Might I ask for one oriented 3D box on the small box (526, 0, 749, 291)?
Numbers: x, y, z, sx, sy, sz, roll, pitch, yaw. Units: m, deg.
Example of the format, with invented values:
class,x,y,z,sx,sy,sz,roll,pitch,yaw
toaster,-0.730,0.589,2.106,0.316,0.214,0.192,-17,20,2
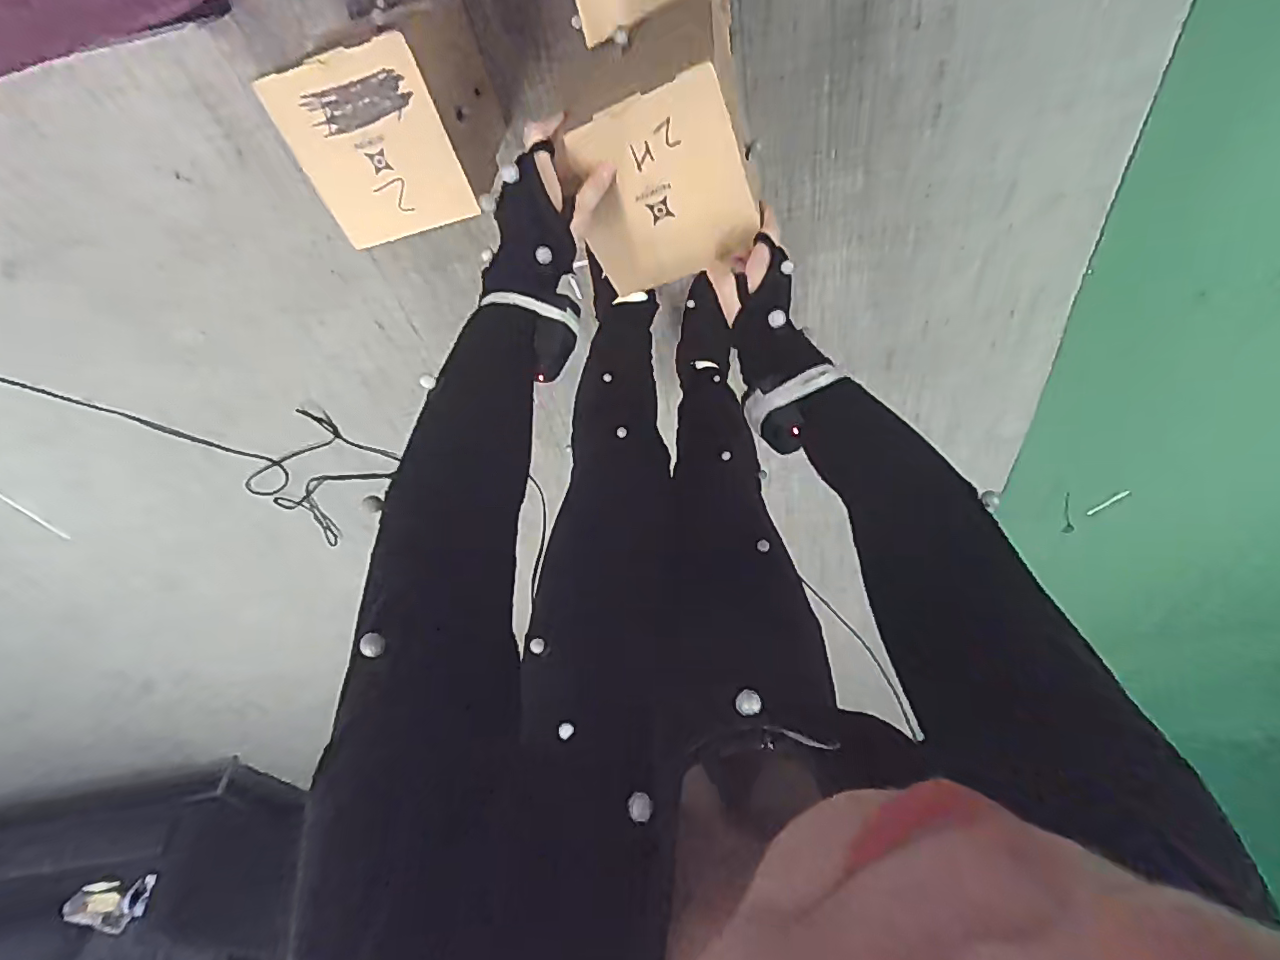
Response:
class,x,y,z,sx,sy,sz,roll,pitch,yaw
small box,0.011,-0.335,0.555,0.168,0.176,0.179,-10,146,22
